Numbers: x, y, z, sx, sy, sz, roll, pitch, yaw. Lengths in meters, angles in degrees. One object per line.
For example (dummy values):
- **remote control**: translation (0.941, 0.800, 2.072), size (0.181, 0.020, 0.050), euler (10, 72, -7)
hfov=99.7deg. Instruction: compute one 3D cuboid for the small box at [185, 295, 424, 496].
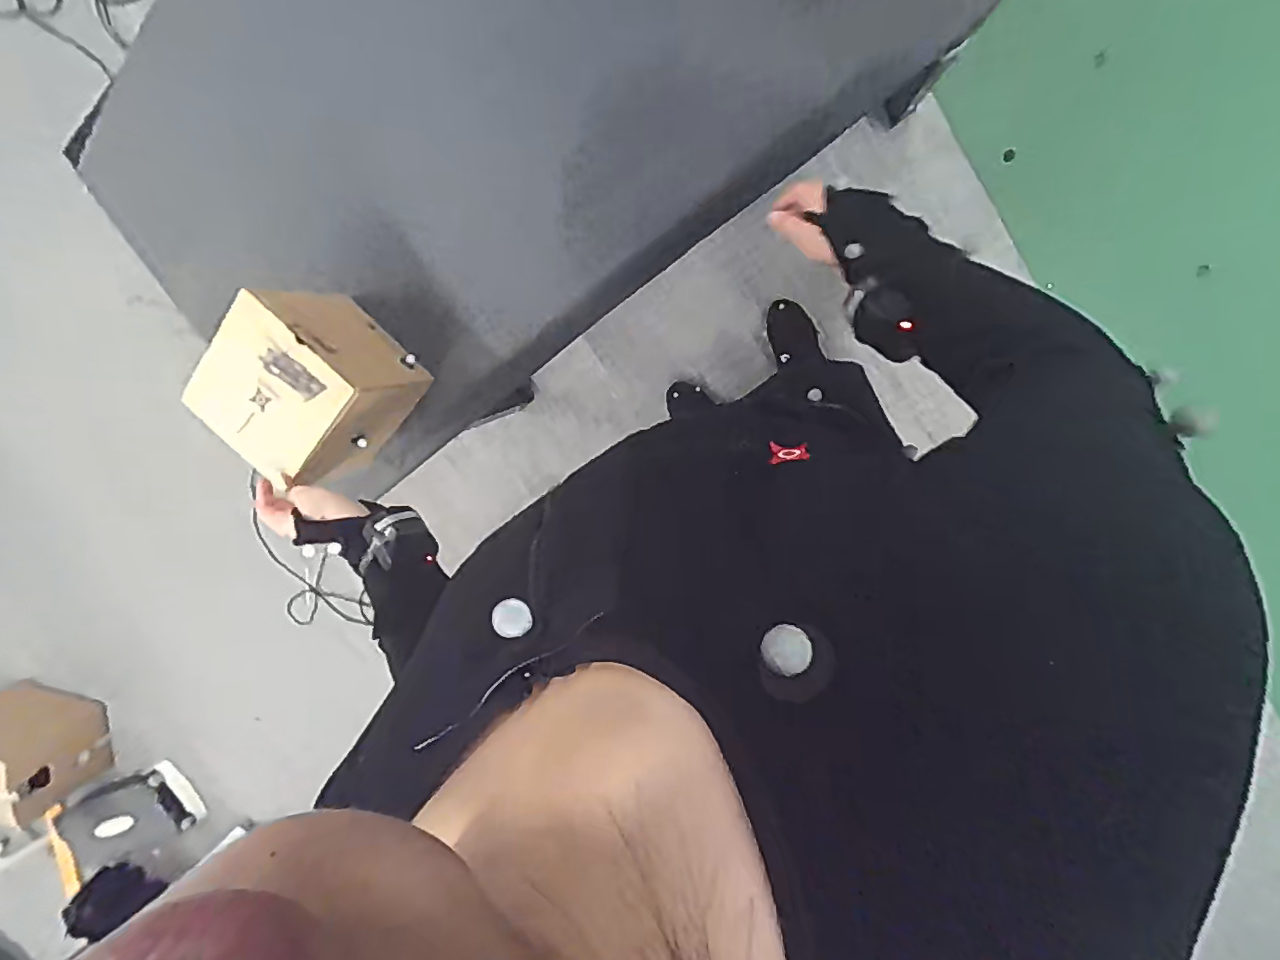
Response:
- **small box**: translation (-0.414, -0.113, 0.699), size (0.168, 0.176, 0.179), euler (44, 108, -4)
